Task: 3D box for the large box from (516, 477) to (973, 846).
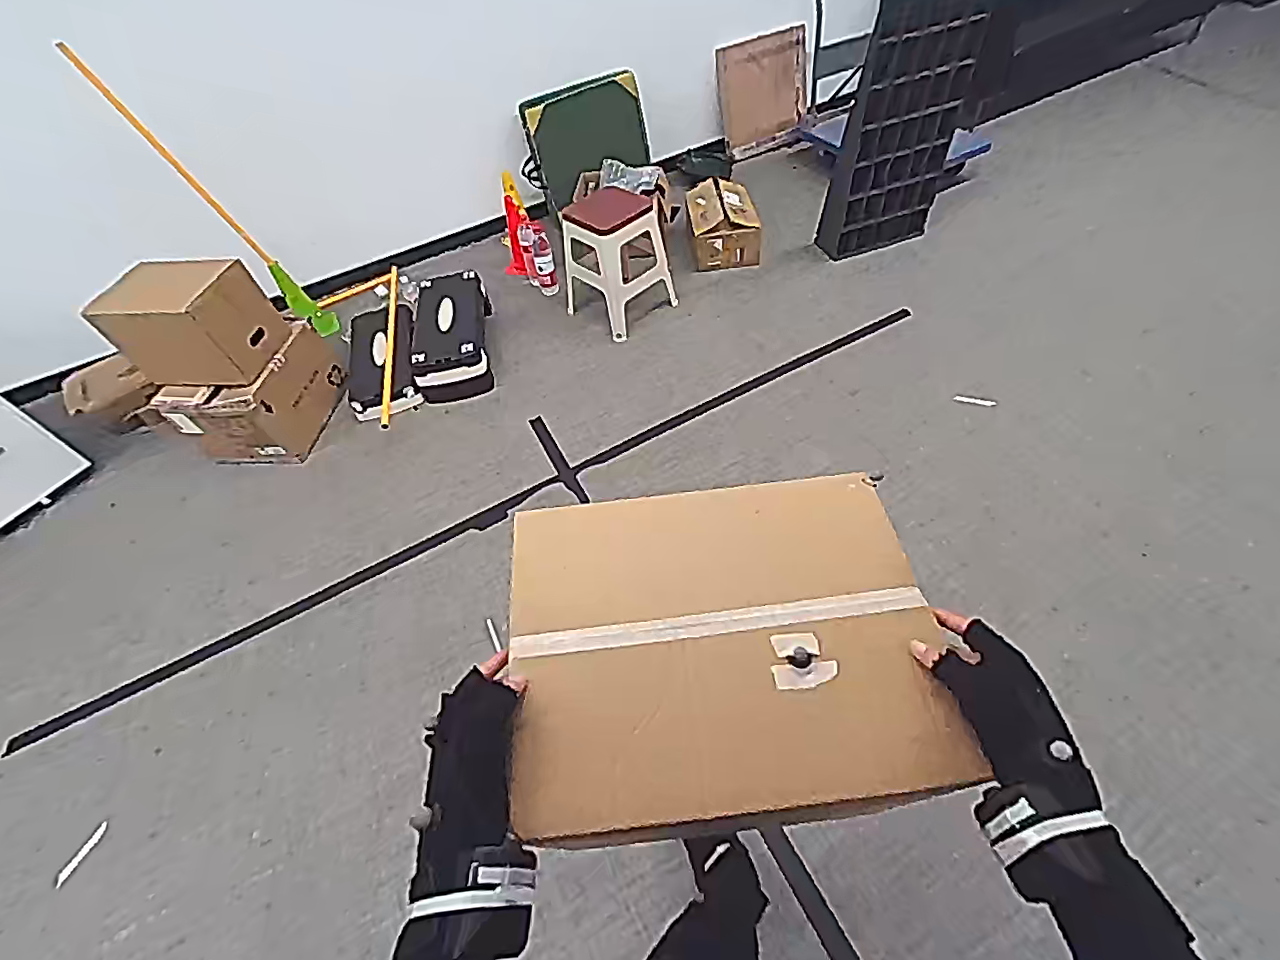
[{"bbox_3d":[0.081,0.231,0.663,0.408,0.320,0.320,-7,54,-1],"label":"large box"}]
